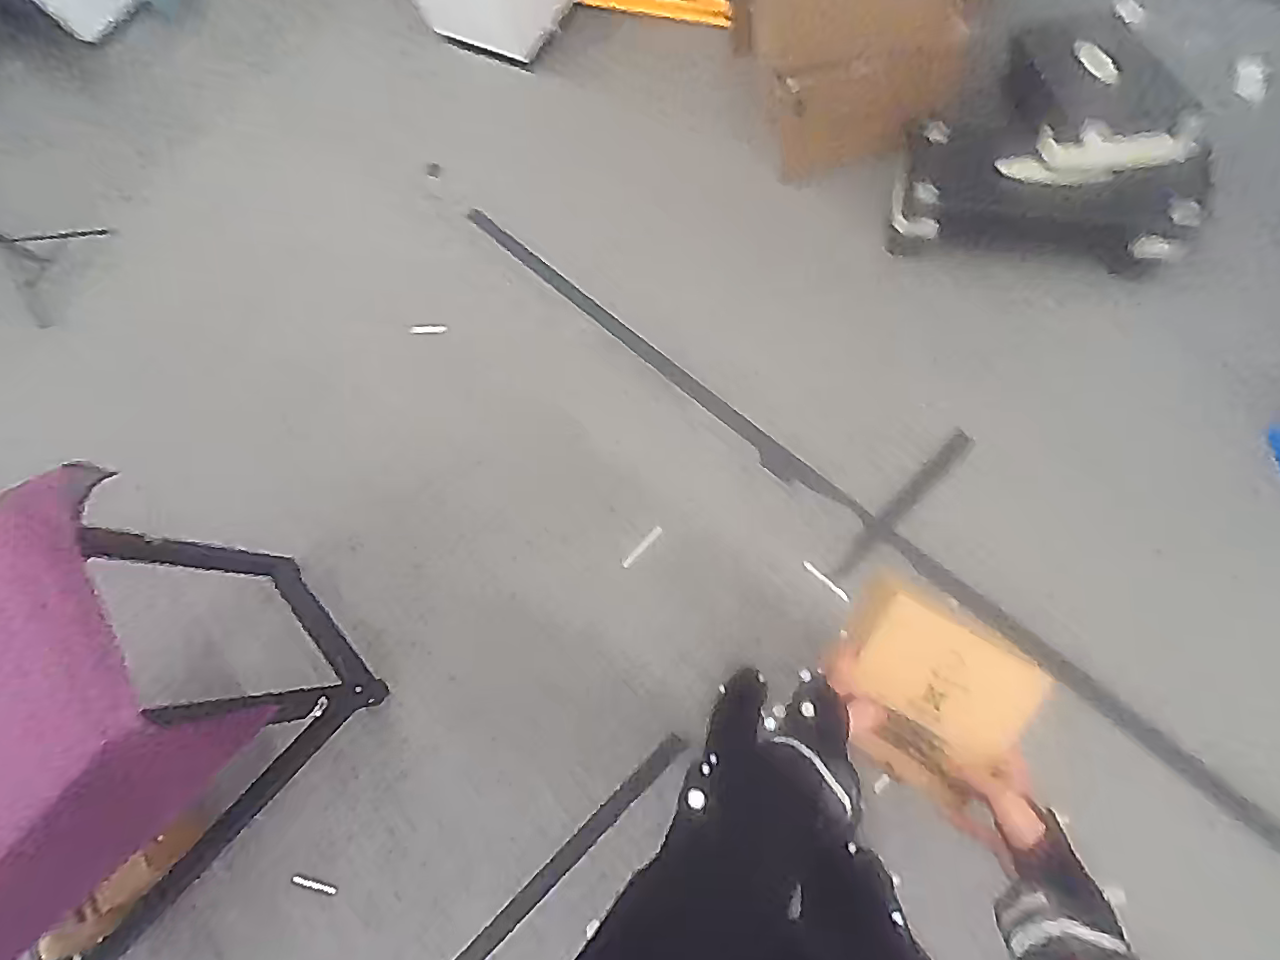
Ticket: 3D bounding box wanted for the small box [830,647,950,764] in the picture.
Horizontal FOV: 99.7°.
[{"bbox_3d":[0.550,0.495,1.221,0.168,0.176,0.179,39,87,19],"label":"small box"}]
